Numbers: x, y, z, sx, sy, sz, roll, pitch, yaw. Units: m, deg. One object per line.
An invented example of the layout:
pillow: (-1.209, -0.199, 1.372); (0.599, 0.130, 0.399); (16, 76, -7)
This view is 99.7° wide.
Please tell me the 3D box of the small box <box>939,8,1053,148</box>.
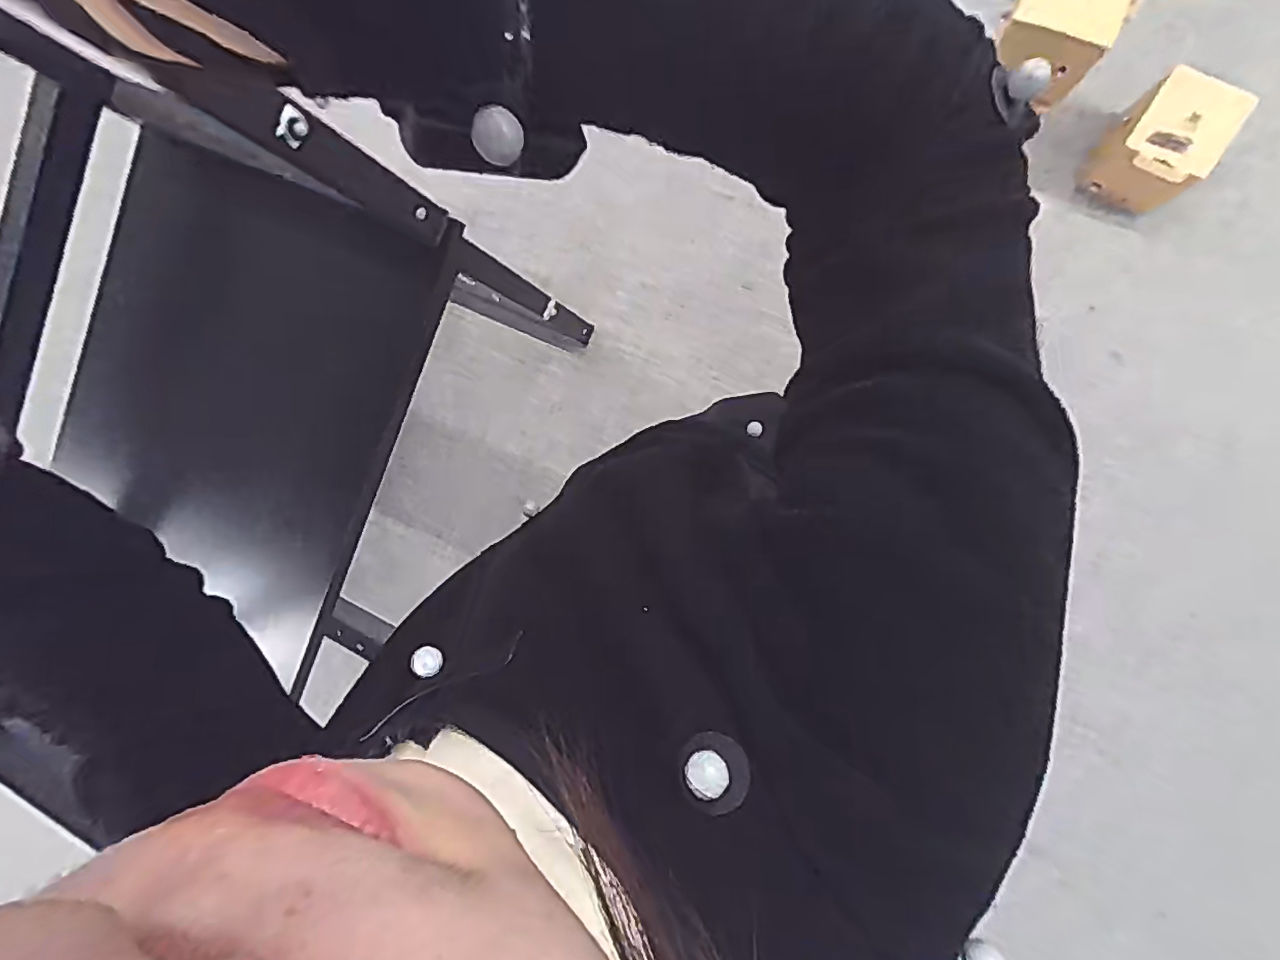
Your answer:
small box: (0.808, -0.875, 1.192); (0.179, 0.176, 0.168); (30, 99, 7)

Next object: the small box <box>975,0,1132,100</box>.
small box: (0.790, -0.871, 1.029); (0.179, 0.176, 0.168); (26, 98, 9)

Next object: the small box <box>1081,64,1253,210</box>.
small box: (1.095, -0.713, 1.148); (0.168, 0.176, 0.179); (30, 98, 7)
